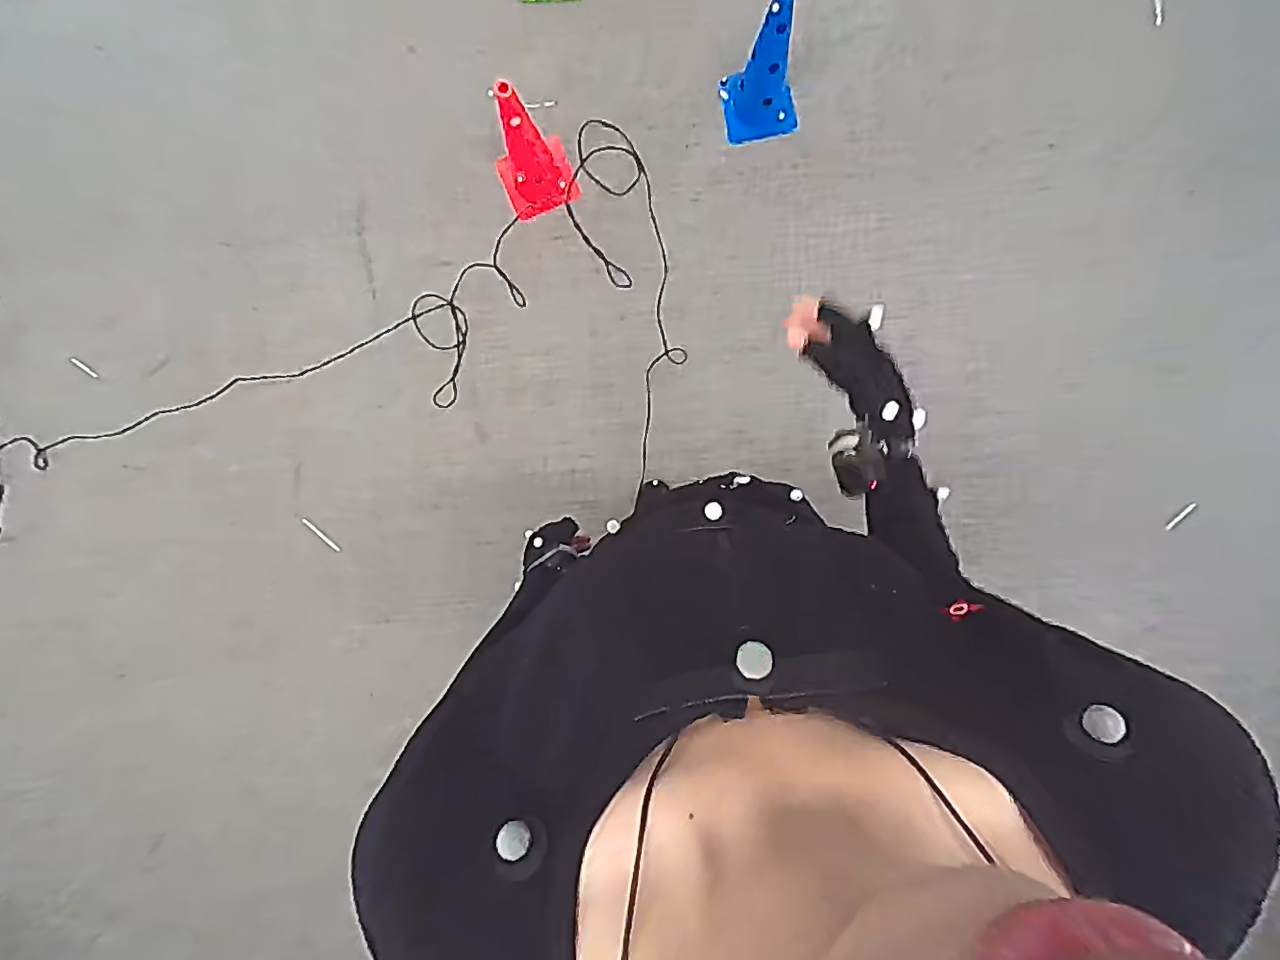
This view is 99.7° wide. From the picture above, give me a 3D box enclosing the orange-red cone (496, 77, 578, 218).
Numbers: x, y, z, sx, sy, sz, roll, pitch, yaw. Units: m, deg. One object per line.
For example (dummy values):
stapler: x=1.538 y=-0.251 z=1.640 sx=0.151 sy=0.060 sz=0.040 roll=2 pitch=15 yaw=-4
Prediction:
orange-red cone: x=-0.301 y=-0.875 z=1.380 sx=0.198 sy=0.360 sz=0.199 roll=-22 pitch=86 yaw=1
